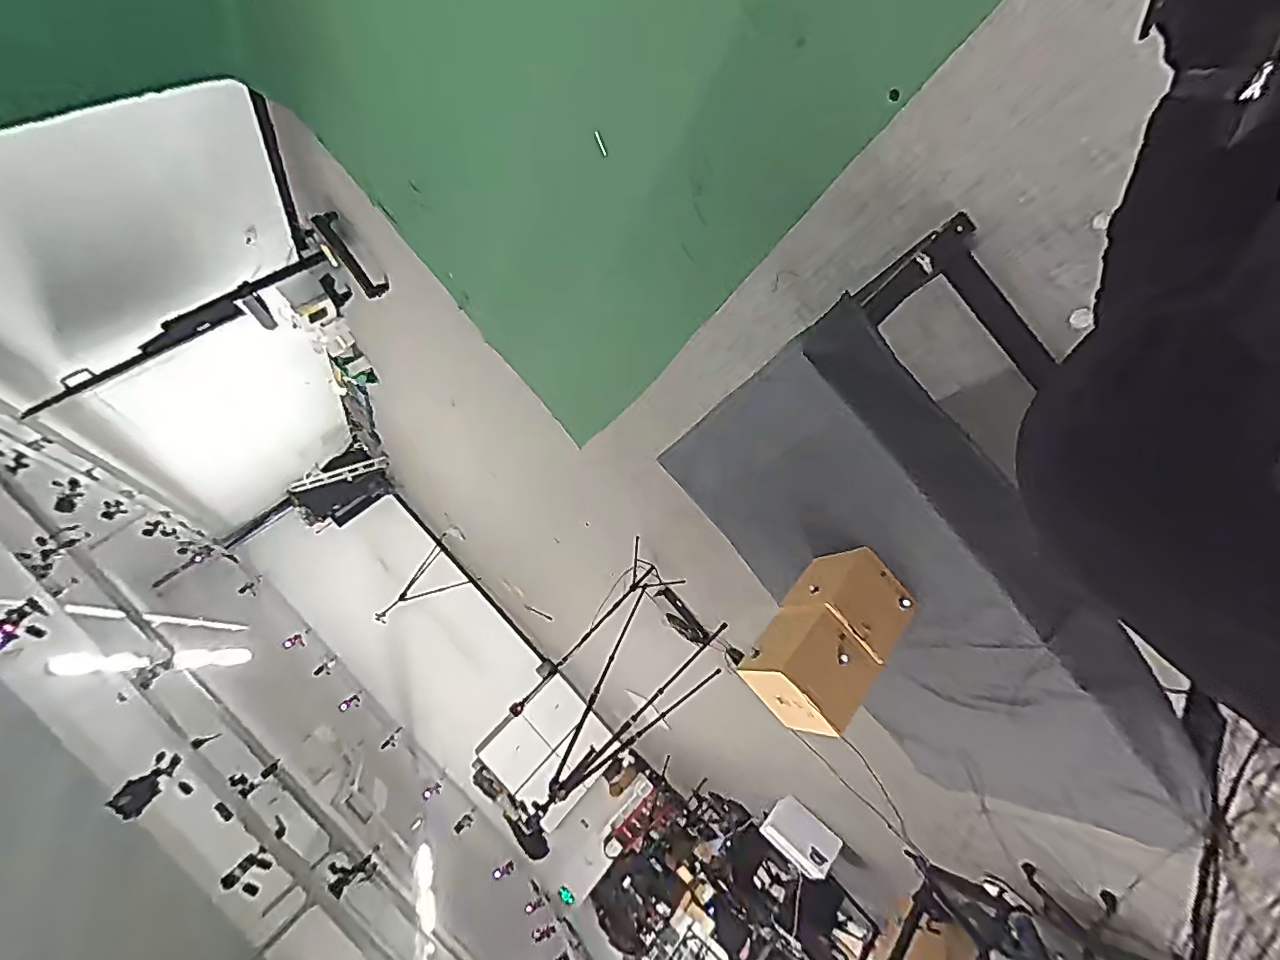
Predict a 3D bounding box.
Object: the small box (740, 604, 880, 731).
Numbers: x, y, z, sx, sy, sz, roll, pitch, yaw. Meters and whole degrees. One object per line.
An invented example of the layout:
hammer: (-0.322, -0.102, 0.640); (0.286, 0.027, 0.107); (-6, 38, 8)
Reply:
small box: (0.345, 0.374, 1.097); (0.168, 0.176, 0.179); (48, 152, 0)

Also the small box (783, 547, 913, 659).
small box: (0.451, 0.262, 1.157); (0.168, 0.176, 0.179); (49, 154, -2)
